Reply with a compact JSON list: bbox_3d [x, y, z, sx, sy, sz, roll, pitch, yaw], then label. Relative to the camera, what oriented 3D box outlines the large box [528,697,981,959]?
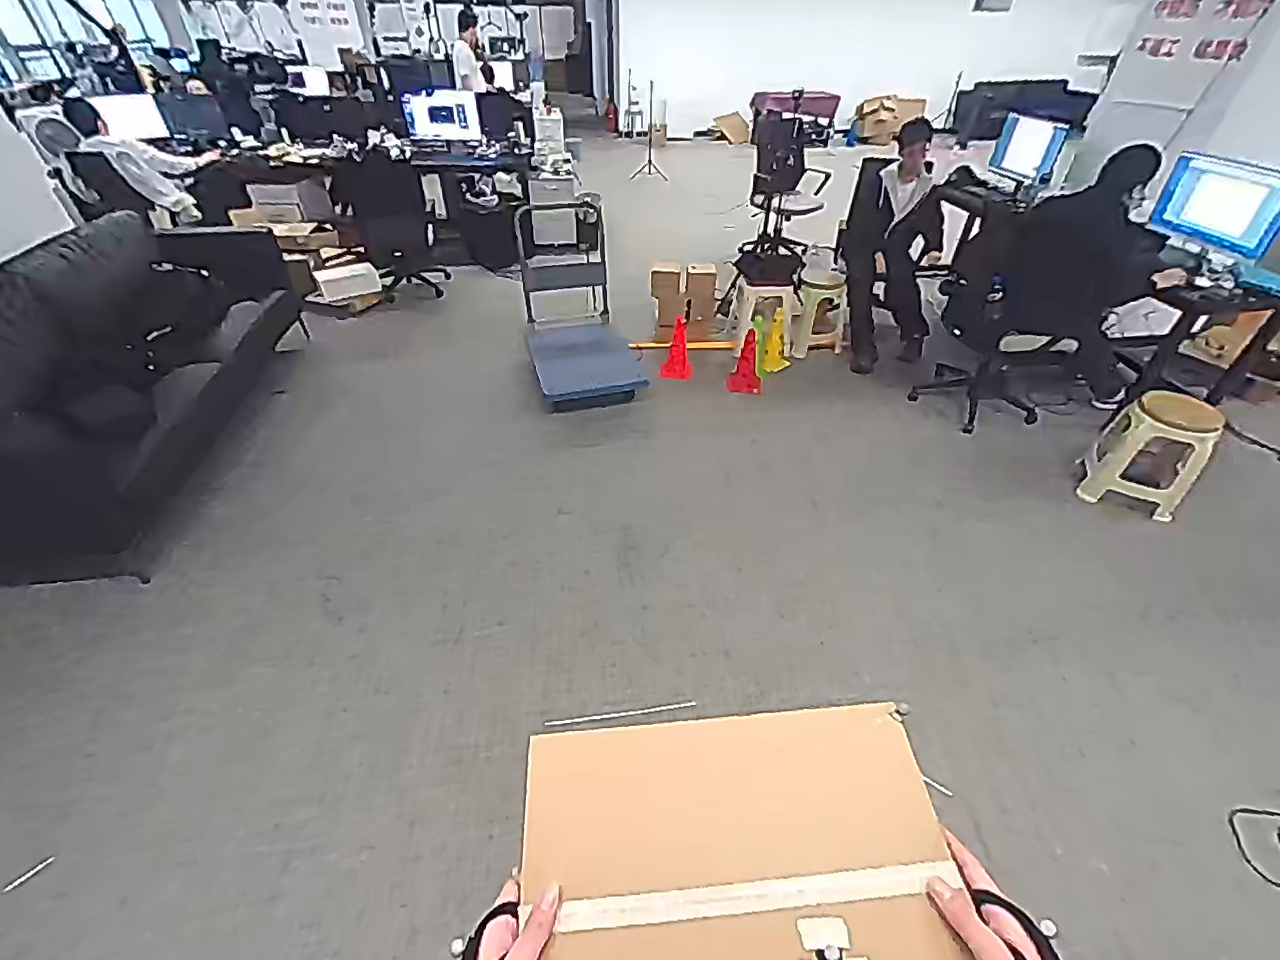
[{"bbox_3d":[0.096,0.478,0.621,0.408,0.320,0.320,-5,50,-2],"label":"large box"}]
